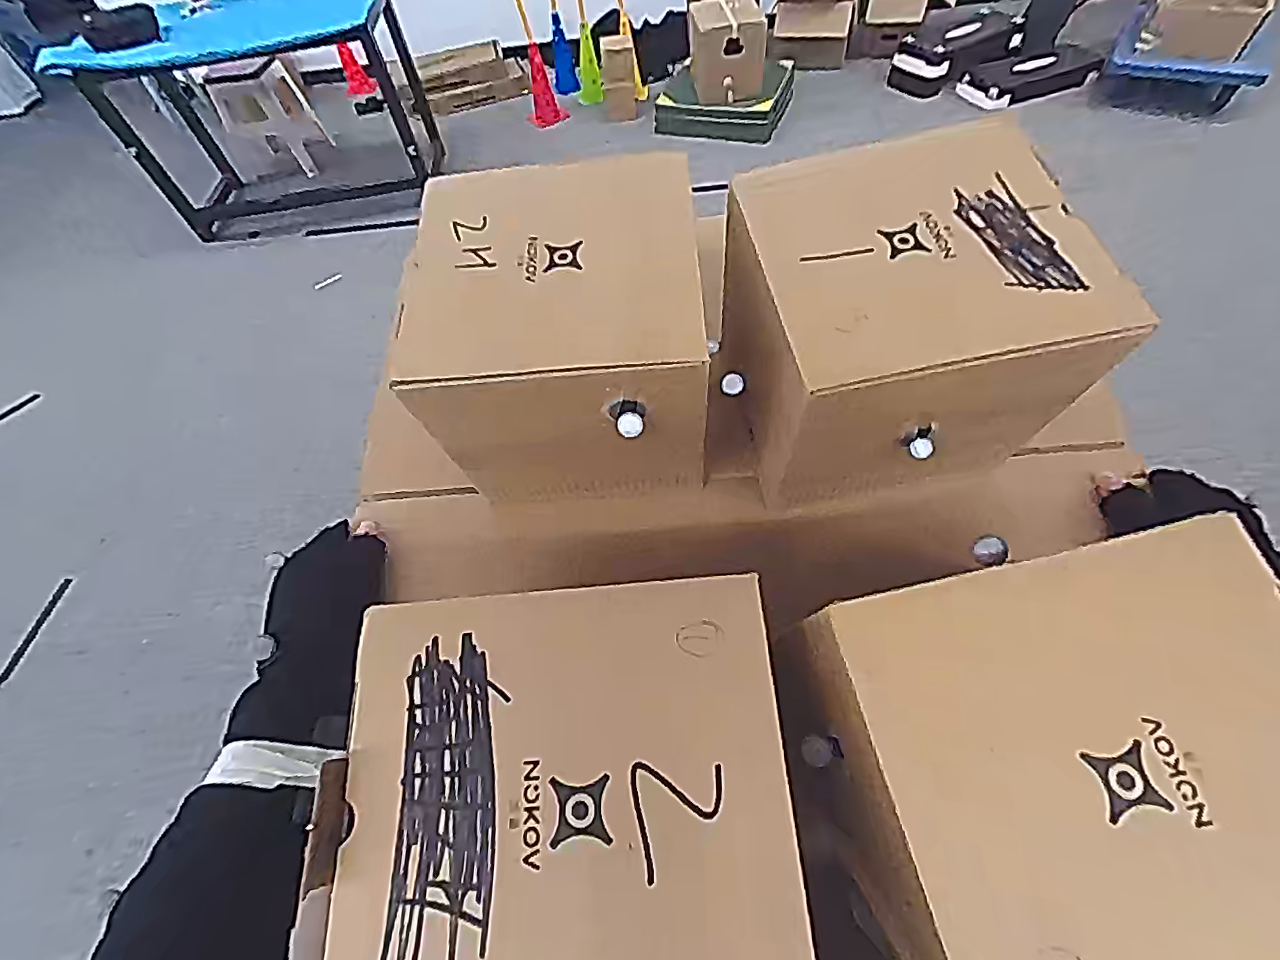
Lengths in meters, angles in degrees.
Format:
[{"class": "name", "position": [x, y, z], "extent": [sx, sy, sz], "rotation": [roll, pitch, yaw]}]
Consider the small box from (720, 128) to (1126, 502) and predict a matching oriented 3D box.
[{"class": "small box", "position": [0.159, -0.100, 0.381], "extent": [0.179, 0.176, 0.168], "rotation": [-11, 65, 2]}]

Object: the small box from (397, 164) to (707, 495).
[{"class": "small box", "position": [-0.045, -0.097, 0.403], "extent": [0.179, 0.176, 0.168], "rotation": [-3, 64, 5]}]
